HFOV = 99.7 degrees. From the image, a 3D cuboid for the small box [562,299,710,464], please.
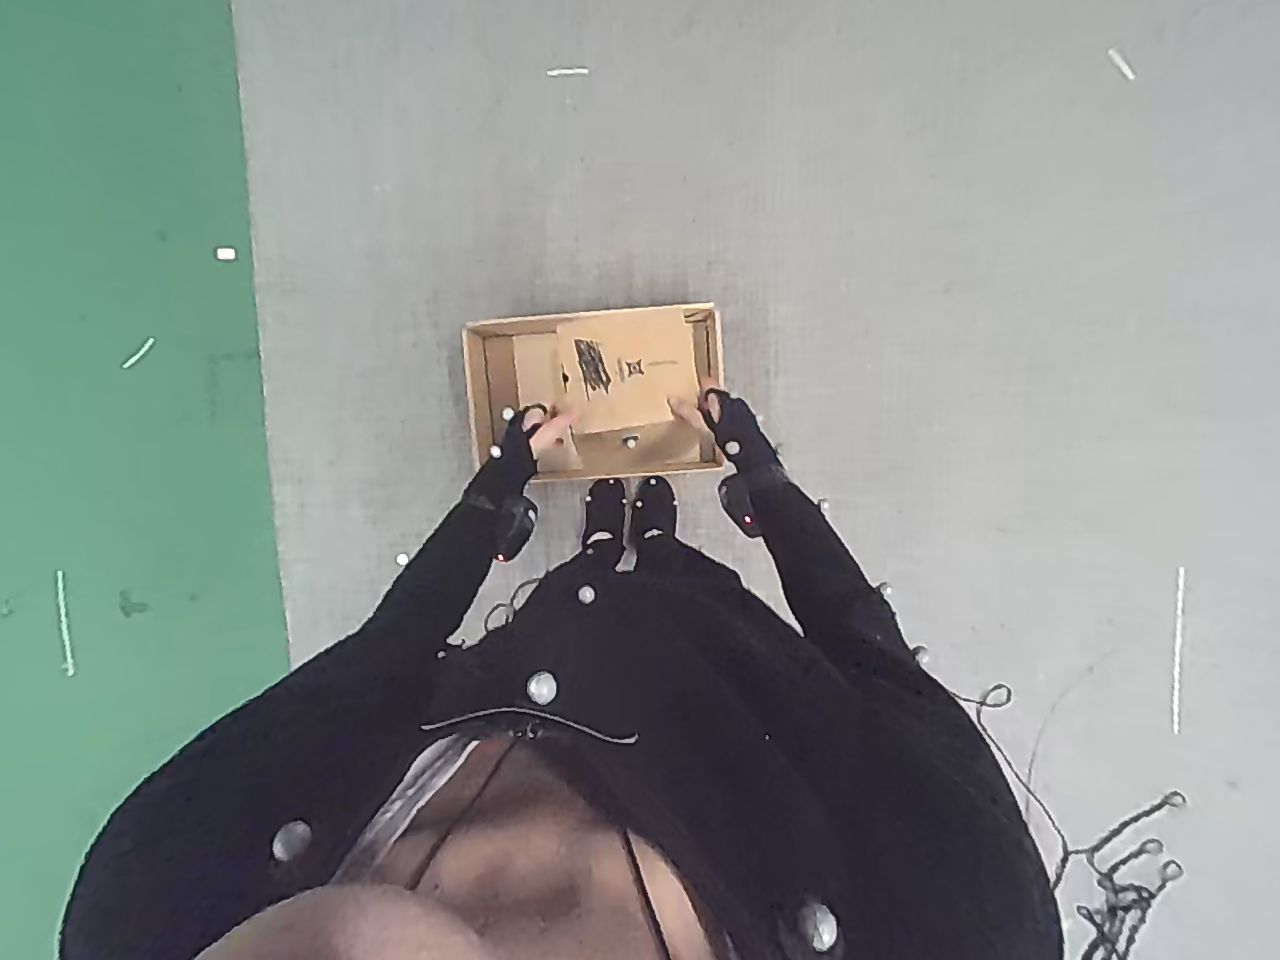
[{"bbox_3d":[-0.005,-0.131,0.781,0.179,0.176,0.168,-9,74,-1],"label":"small box"}]
